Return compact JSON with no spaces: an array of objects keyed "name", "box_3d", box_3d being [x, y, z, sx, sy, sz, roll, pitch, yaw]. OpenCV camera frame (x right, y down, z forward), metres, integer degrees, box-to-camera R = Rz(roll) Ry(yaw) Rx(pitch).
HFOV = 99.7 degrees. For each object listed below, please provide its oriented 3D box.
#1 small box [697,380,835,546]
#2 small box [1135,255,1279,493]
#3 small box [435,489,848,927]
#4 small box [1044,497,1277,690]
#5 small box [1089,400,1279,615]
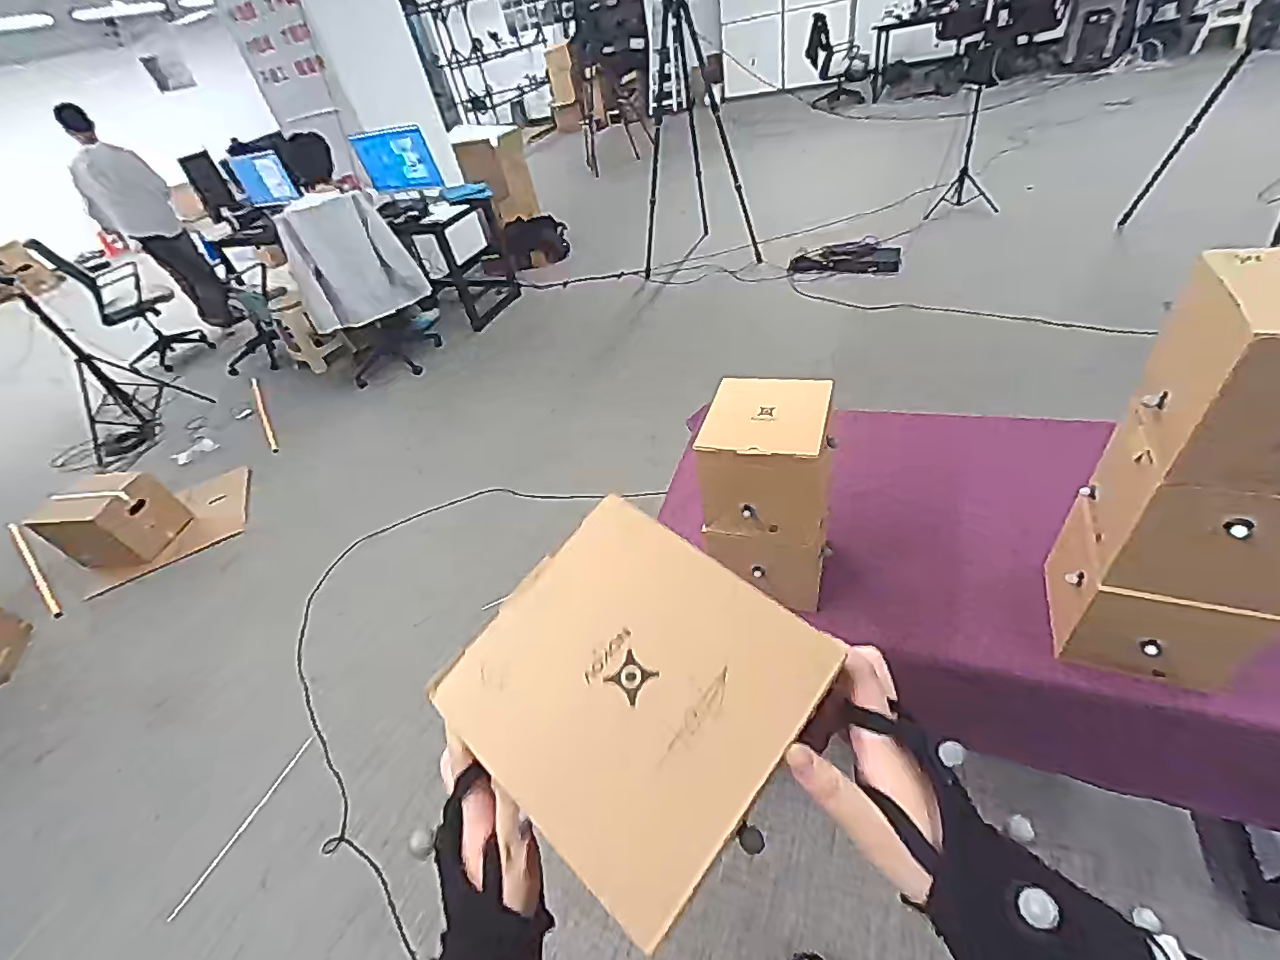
[{"name":"small box","box_3d":[0.193,-0.029,0.810,0.168,0.176,0.179,6,45,22]},{"name":"small box","box_3d":[0.619,-0.097,0.514,0.168,0.176,0.179,9,47,24]},{"name":"small box","box_3d":[0.006,0.144,0.365,0.179,0.176,0.168,34,69,27]},{"name":"small box","box_3d":[0.669,0.151,0.725,0.168,0.176,0.179,9,46,24]},{"name":"small box","box_3d":[0.647,0.029,0.616,0.179,0.176,0.168,10,46,24]}]
